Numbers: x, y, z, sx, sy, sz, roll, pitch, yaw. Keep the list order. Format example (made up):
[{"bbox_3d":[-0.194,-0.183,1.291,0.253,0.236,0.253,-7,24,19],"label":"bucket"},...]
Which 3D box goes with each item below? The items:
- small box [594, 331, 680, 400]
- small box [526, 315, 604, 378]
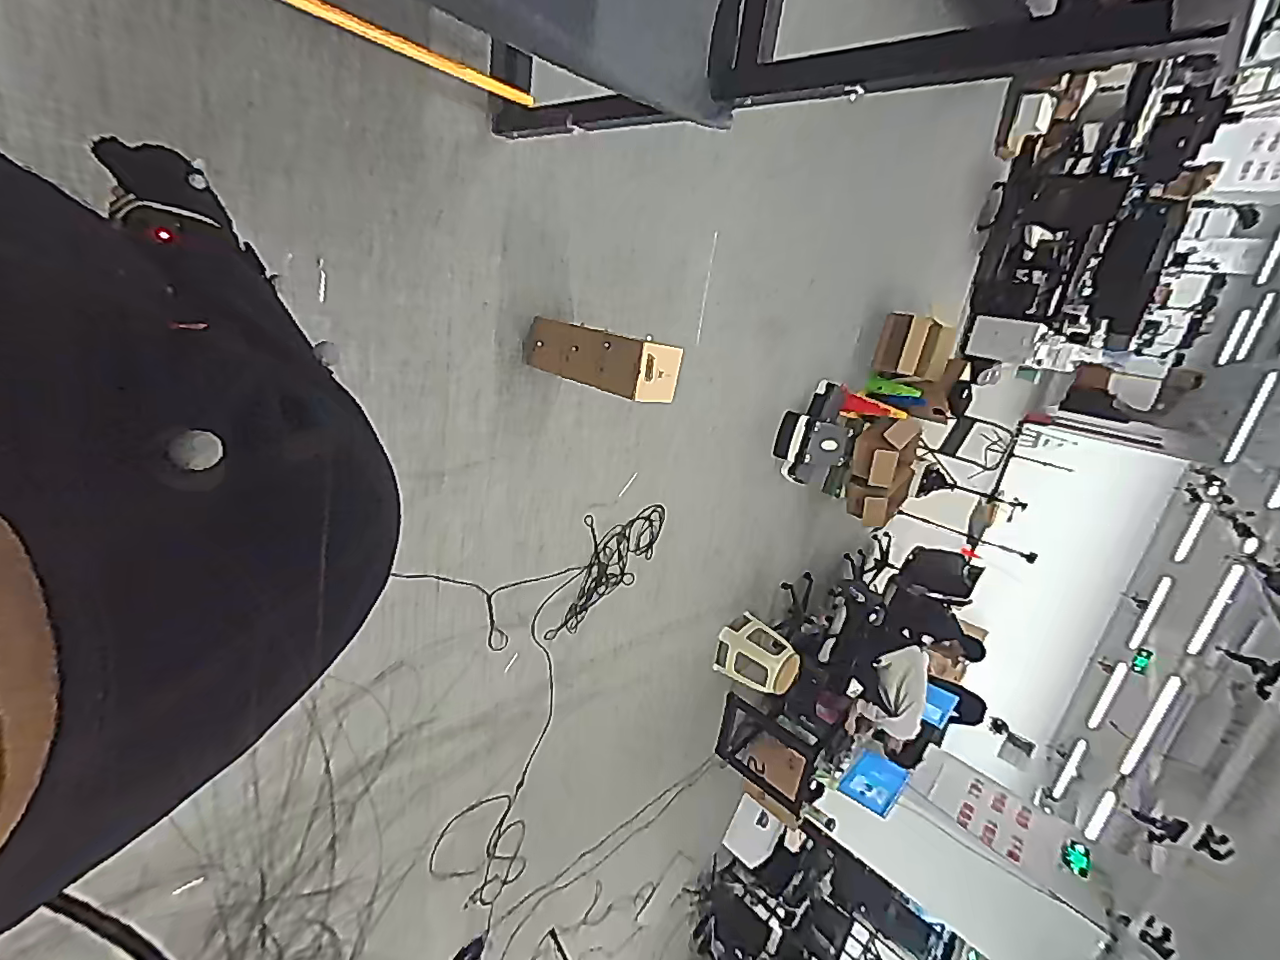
[{"bbox_3d":[-0.014,-0.340,1.599,0.179,0.176,0.168,-7,115,-48],"label":"small box"},{"bbox_3d":[-0.250,-0.446,1.798,0.179,0.176,0.168,-4,111,-49],"label":"small box"}]
